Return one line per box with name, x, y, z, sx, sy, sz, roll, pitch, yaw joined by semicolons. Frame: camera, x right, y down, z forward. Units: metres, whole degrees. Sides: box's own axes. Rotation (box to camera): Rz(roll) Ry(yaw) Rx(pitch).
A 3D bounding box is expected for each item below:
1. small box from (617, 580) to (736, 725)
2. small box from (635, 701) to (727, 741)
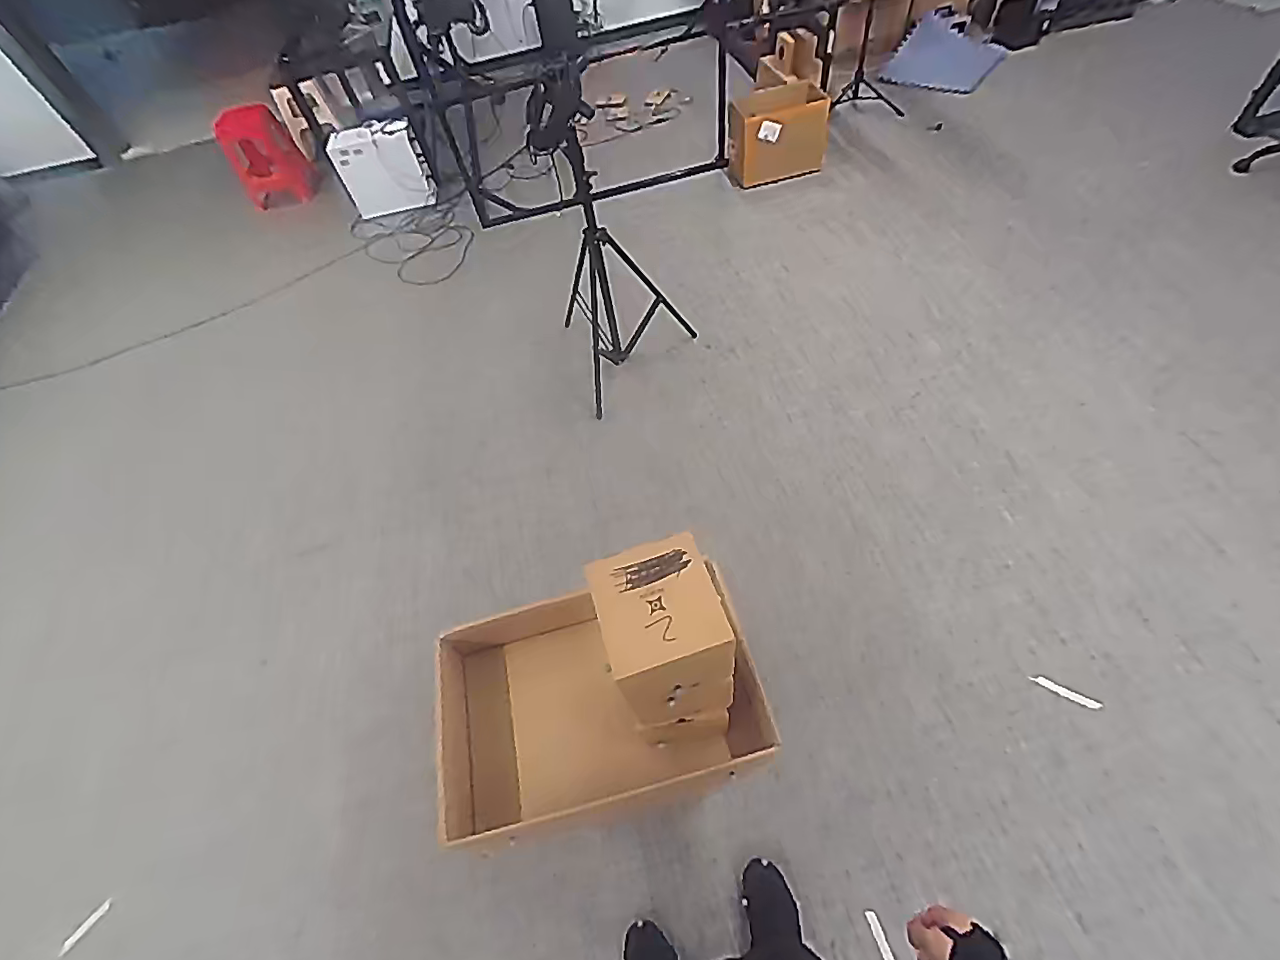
small box;0.062;0.302;0.937;0.168;0.176;0.179;-13;54;0
small box;0.076;0.403;1.065;0.168;0.176;0.179;-9;54;1
